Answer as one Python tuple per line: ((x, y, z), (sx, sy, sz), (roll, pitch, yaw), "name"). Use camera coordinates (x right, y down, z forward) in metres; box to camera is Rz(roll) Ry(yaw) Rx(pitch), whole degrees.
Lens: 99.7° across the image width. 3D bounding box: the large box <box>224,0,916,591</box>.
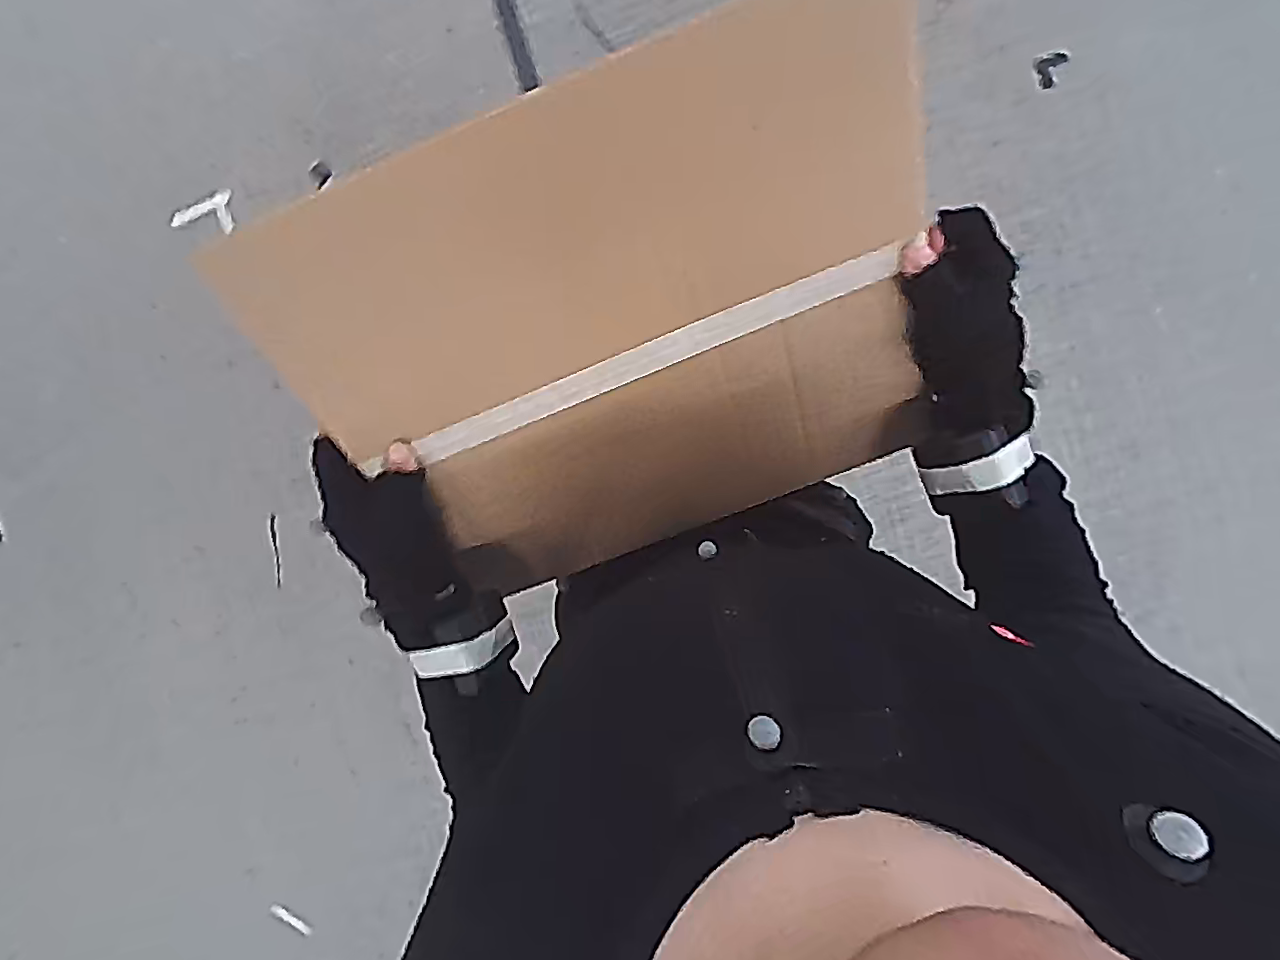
((-0.031, -0.168, 0.497), (0.408, 0.320, 0.320), (-21, 126, 5), "large box")
